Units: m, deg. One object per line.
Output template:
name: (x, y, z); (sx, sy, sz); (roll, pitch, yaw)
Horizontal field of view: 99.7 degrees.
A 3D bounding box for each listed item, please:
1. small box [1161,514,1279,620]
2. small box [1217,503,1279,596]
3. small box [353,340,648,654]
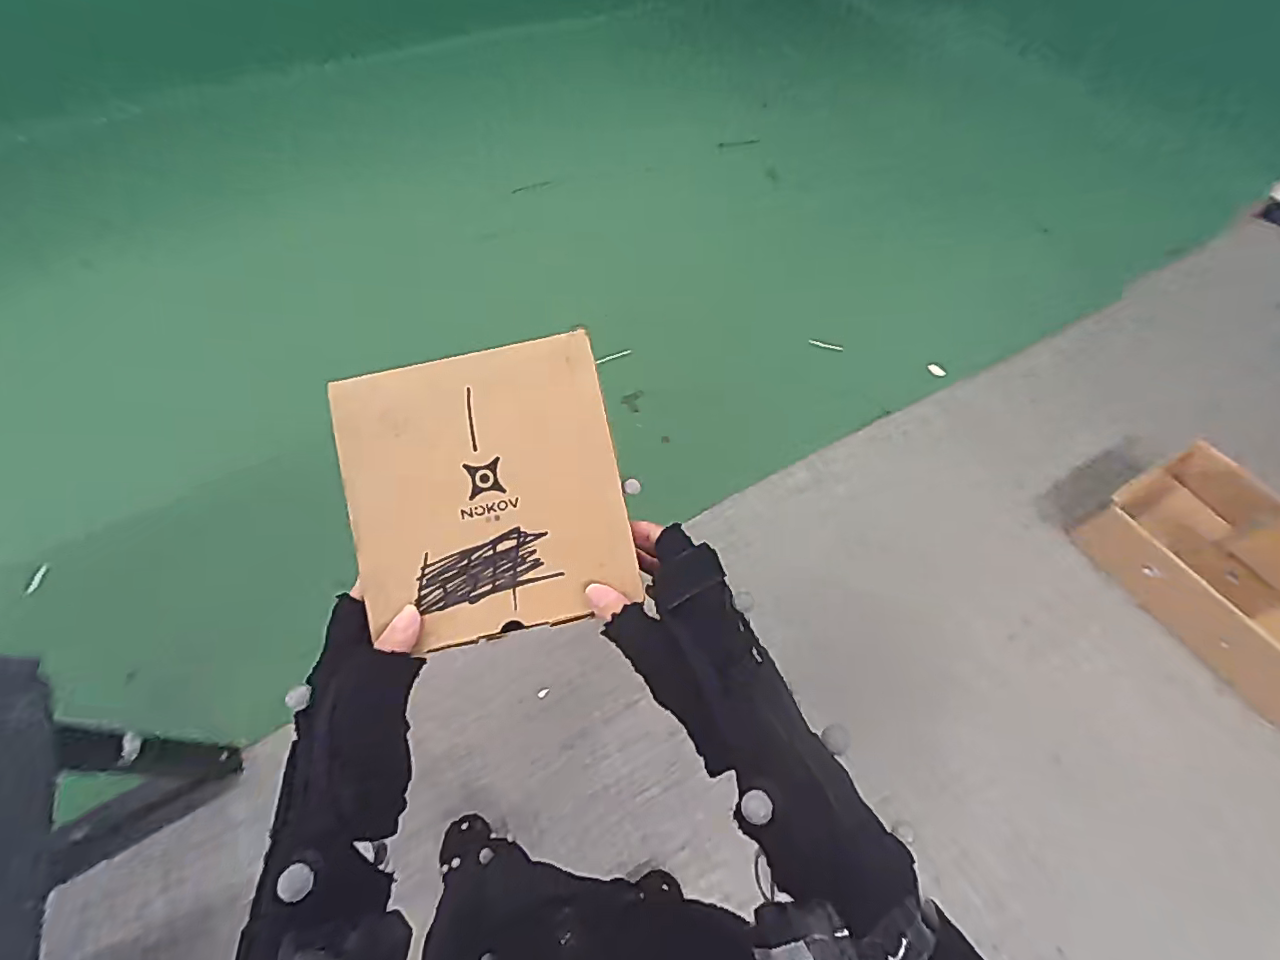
small box: (1.500, 0.224, 1.367); (0.168, 0.176, 0.179); (-28, 64, -18)
small box: (1.482, 0.144, 1.203); (0.168, 0.176, 0.179); (-27, 64, -17)
small box: (-0.088, 0.014, 0.419); (0.168, 0.176, 0.179); (-11, 85, -2)
